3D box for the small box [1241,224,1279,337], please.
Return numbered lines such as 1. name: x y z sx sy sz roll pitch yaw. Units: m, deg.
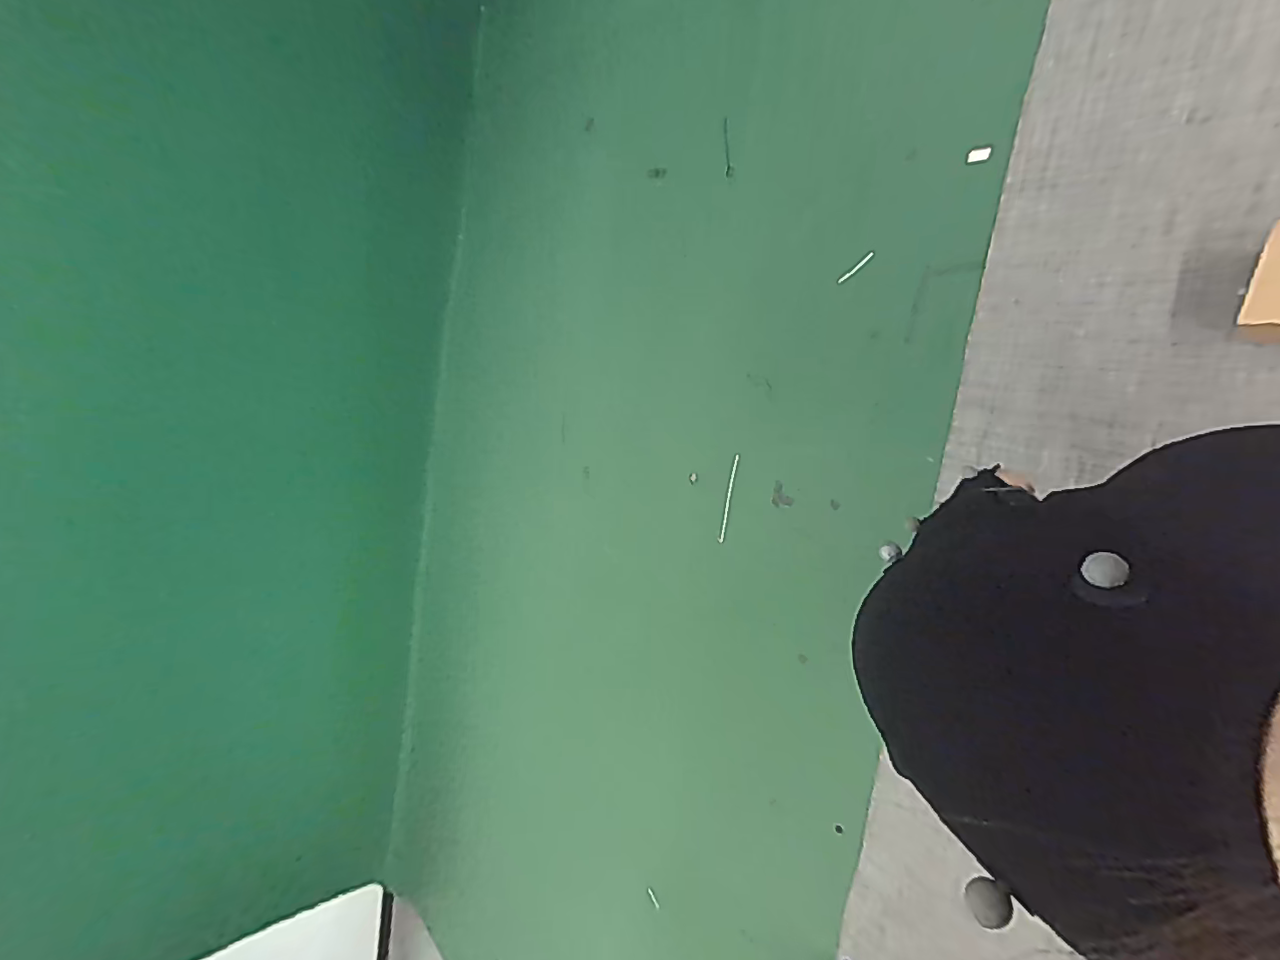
1. small box: 1.165 -0.336 0.911 0.168 0.176 0.179 22 105 45
